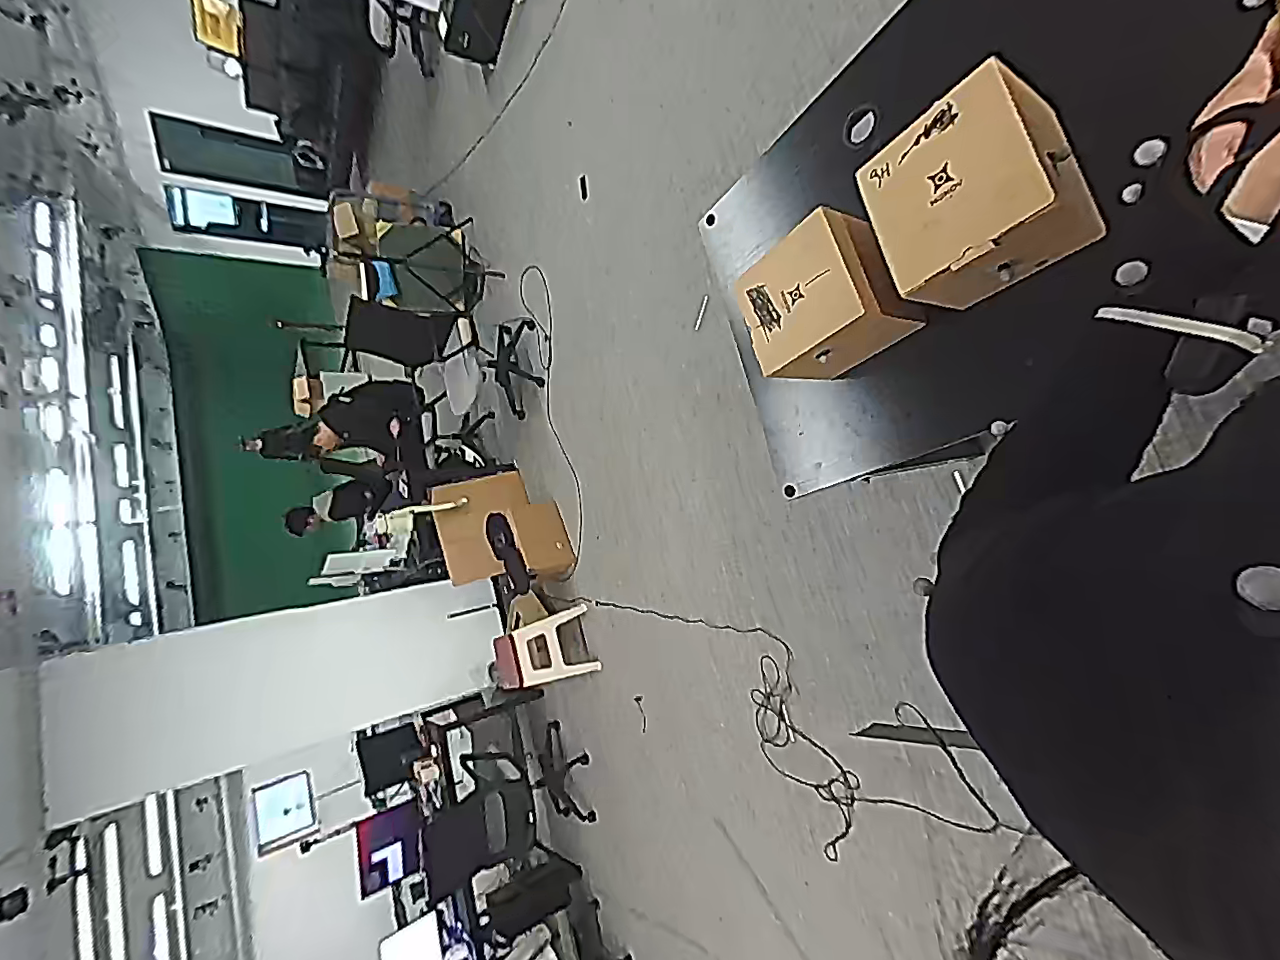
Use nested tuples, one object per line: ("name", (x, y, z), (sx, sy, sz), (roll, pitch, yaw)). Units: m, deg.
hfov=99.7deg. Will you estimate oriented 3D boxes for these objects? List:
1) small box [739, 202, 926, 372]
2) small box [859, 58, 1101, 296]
("small box", (0.284, -0.272, 0.811), (0.179, 0.176, 0.168), (-31, 71, 51))
("small box", (0.402, -0.336, 0.642), (0.168, 0.176, 0.179), (-27, 74, 52))
